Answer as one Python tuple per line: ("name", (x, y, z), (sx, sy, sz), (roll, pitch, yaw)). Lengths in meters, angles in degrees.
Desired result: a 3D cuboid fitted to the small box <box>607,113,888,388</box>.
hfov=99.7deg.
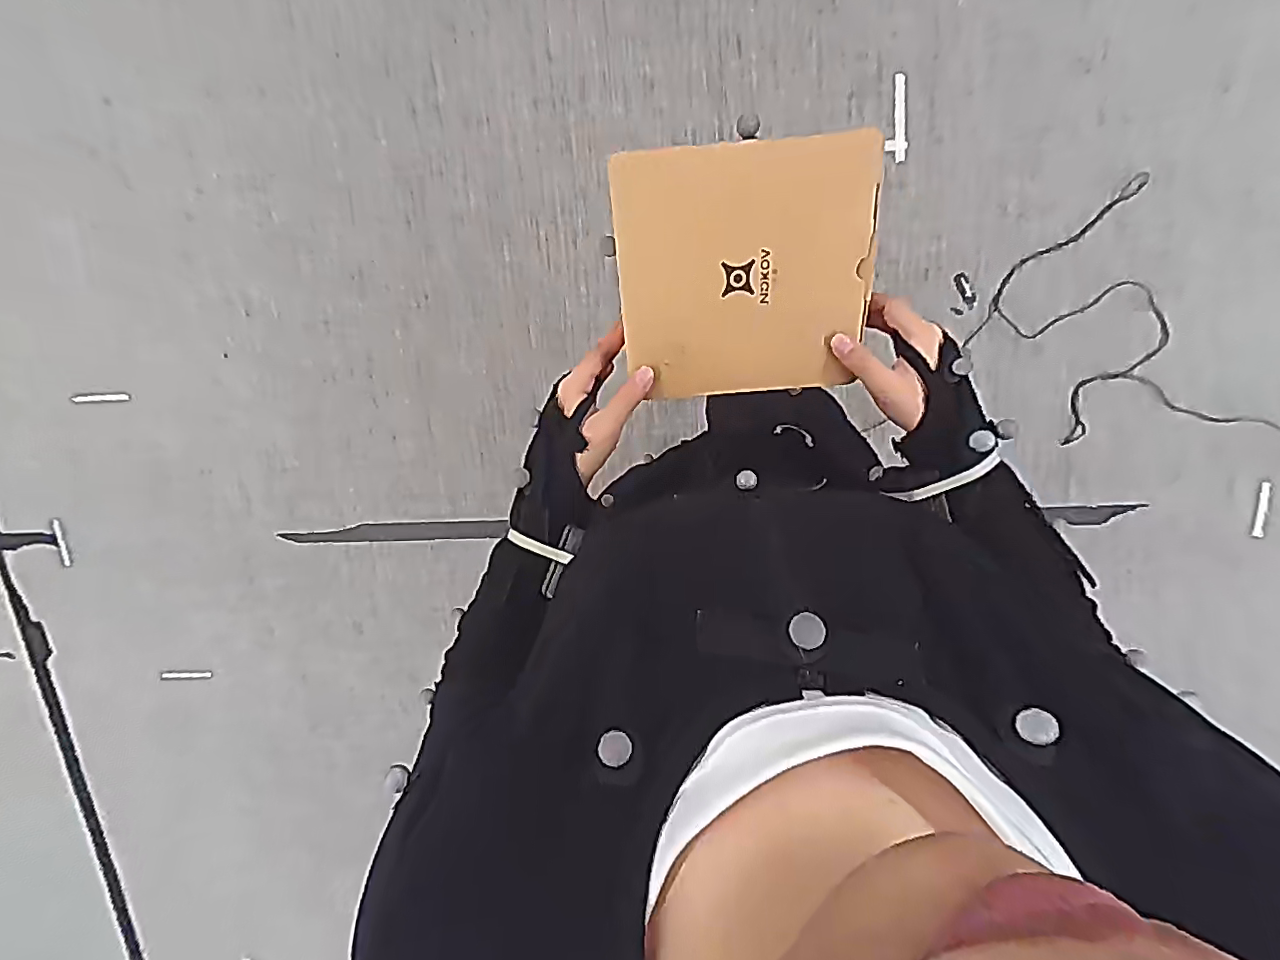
("small box", (0.071, -0.183, 0.439), (0.179, 0.176, 0.168), (-5, 118, 1))
